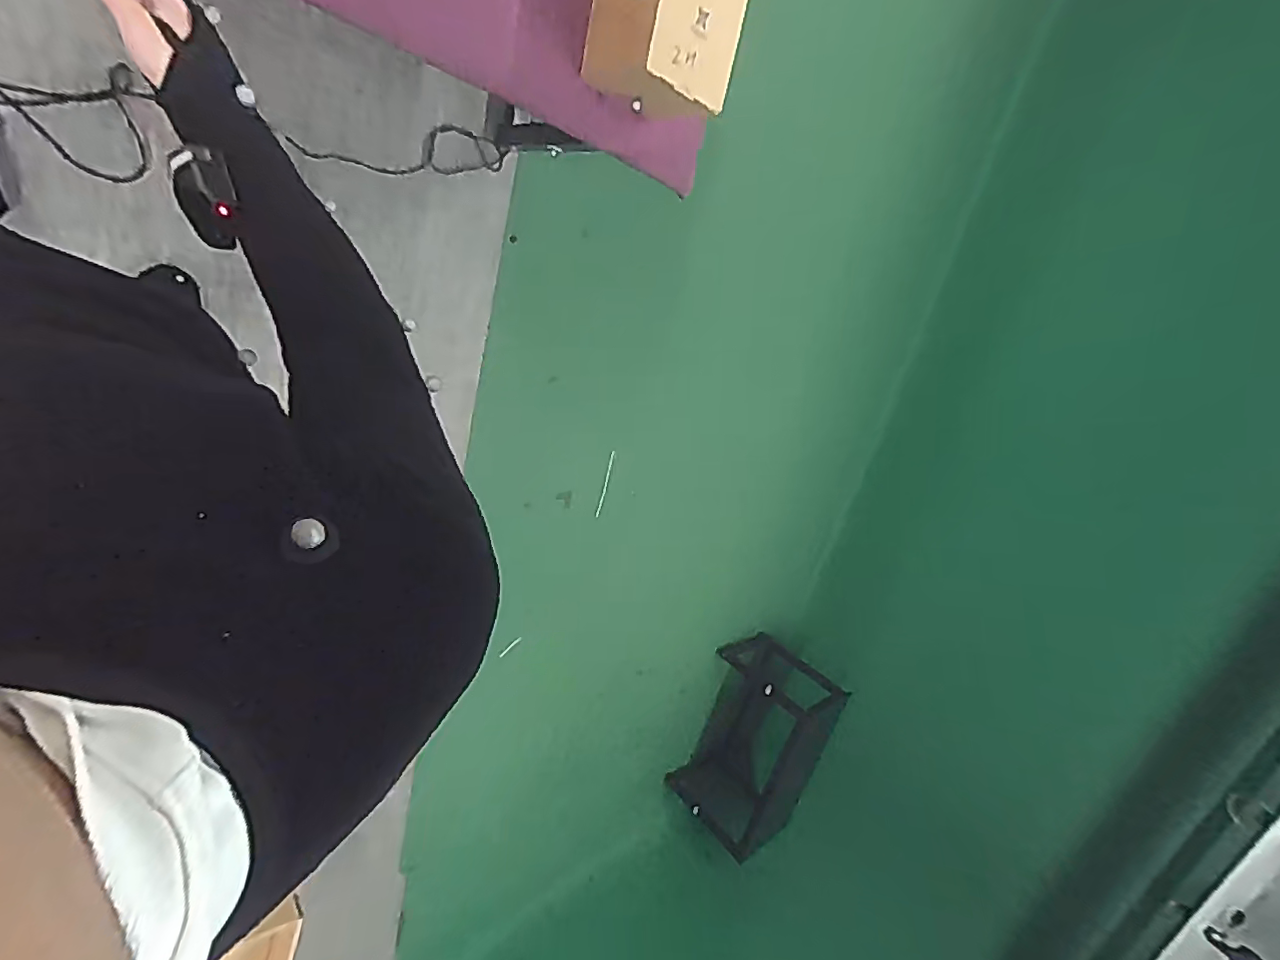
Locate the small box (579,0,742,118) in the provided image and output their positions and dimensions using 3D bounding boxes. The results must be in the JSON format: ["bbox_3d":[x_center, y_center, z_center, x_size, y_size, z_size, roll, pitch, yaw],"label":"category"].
[{"bbox_3d":[0.026,-0.695,0.843,0.168,0.176,0.179,-4,118,-43],"label":"small box"}]
